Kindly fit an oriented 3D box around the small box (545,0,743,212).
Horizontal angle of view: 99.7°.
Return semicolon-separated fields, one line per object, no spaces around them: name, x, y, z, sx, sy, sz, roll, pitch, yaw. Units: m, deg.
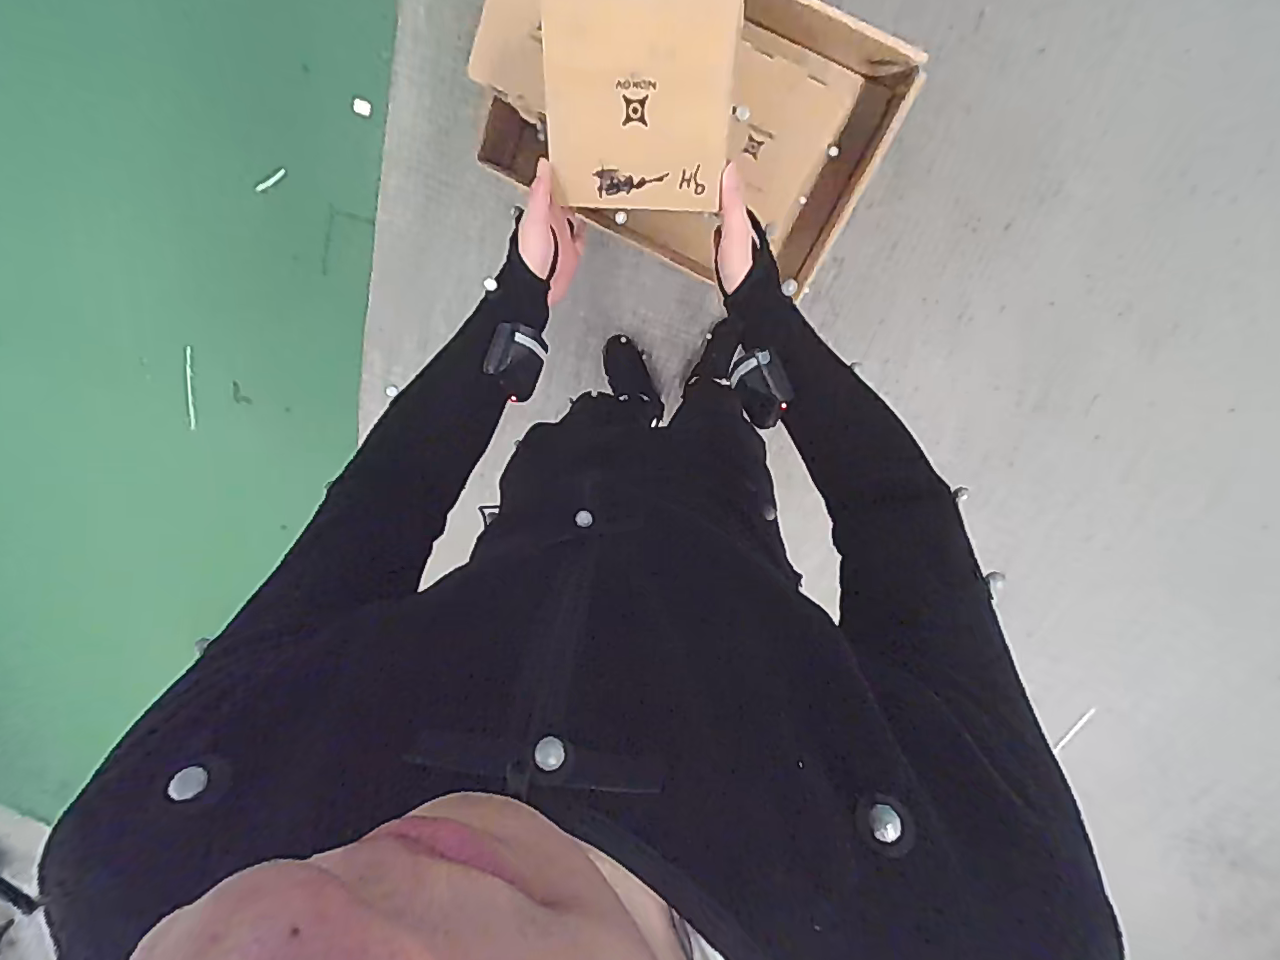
small box;0.008;-0.372;0.540;0.168;0.176;0.179;6;120;6

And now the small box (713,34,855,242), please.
small box;0.162;-0.449;0.744;0.168;0.176;0.179;29;116;1

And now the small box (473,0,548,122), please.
small box;-0.096;-0.591;0.744;0.168;0.176;0.179;28;115;-1
